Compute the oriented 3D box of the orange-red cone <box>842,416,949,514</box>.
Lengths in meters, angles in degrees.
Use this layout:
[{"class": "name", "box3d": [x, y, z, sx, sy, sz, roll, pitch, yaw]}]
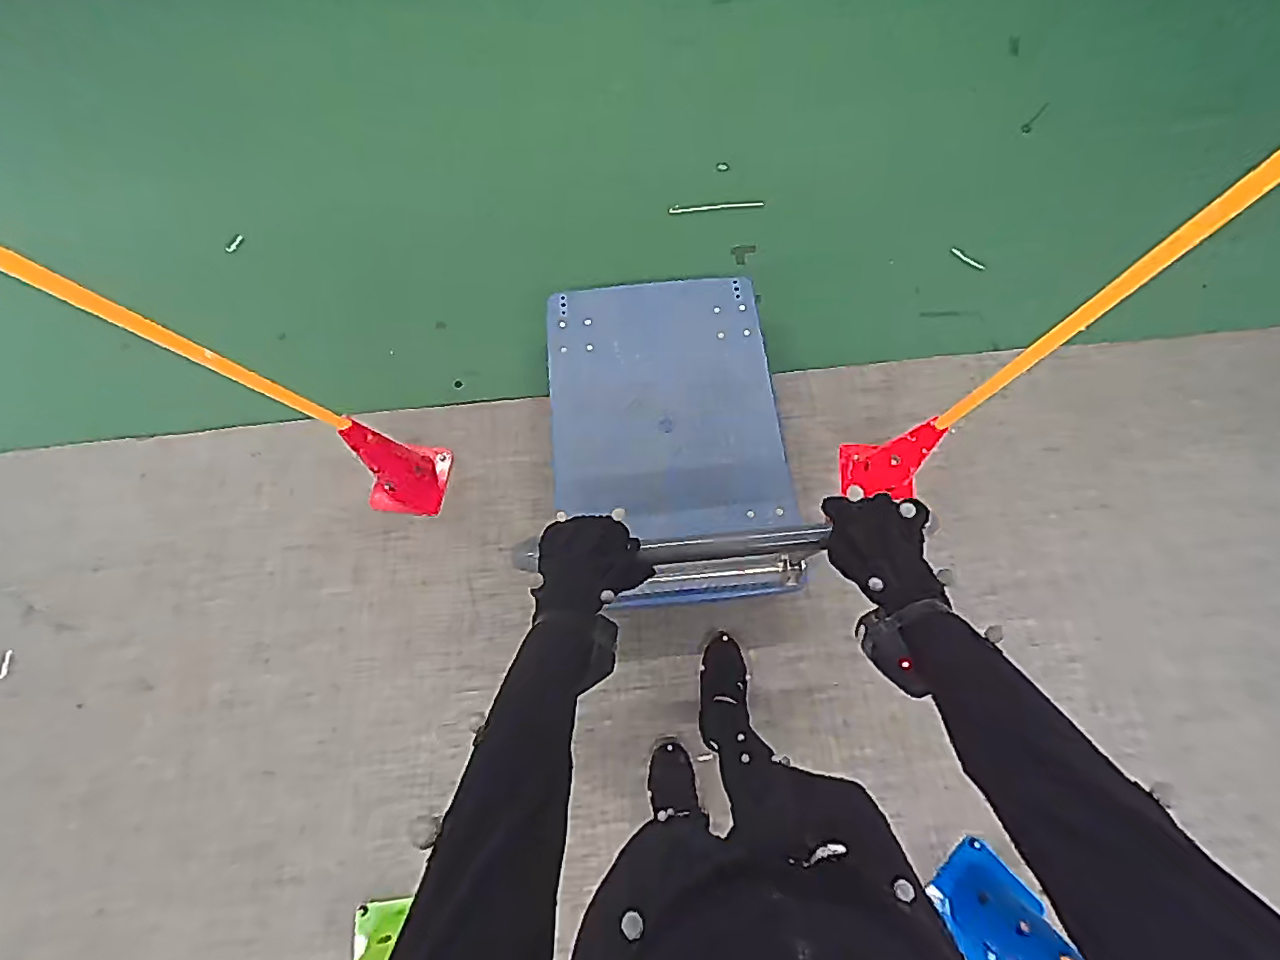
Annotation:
[{"class": "orange-red cone", "box3d": [0.650, -0.062, 1.323, 0.198, 0.360, 0.199, 5, 71, 3]}]
